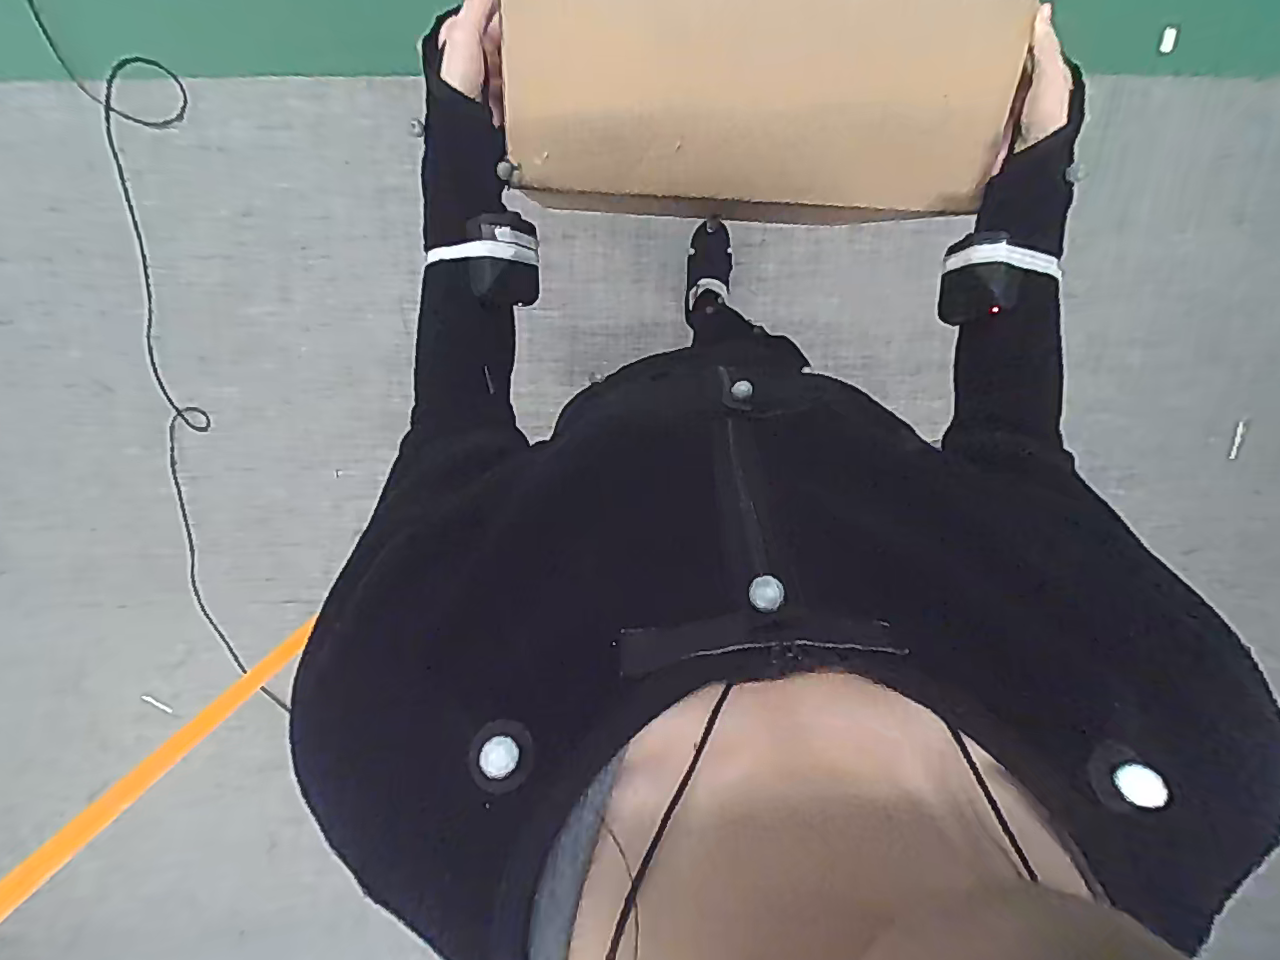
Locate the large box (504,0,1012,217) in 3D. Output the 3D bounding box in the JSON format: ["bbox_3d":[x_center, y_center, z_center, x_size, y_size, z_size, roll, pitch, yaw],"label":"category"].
[{"bbox_3d":[0.088,-0.441,0.543,0.408,0.320,0.320,1,113,-4],"label":"large box"}]
